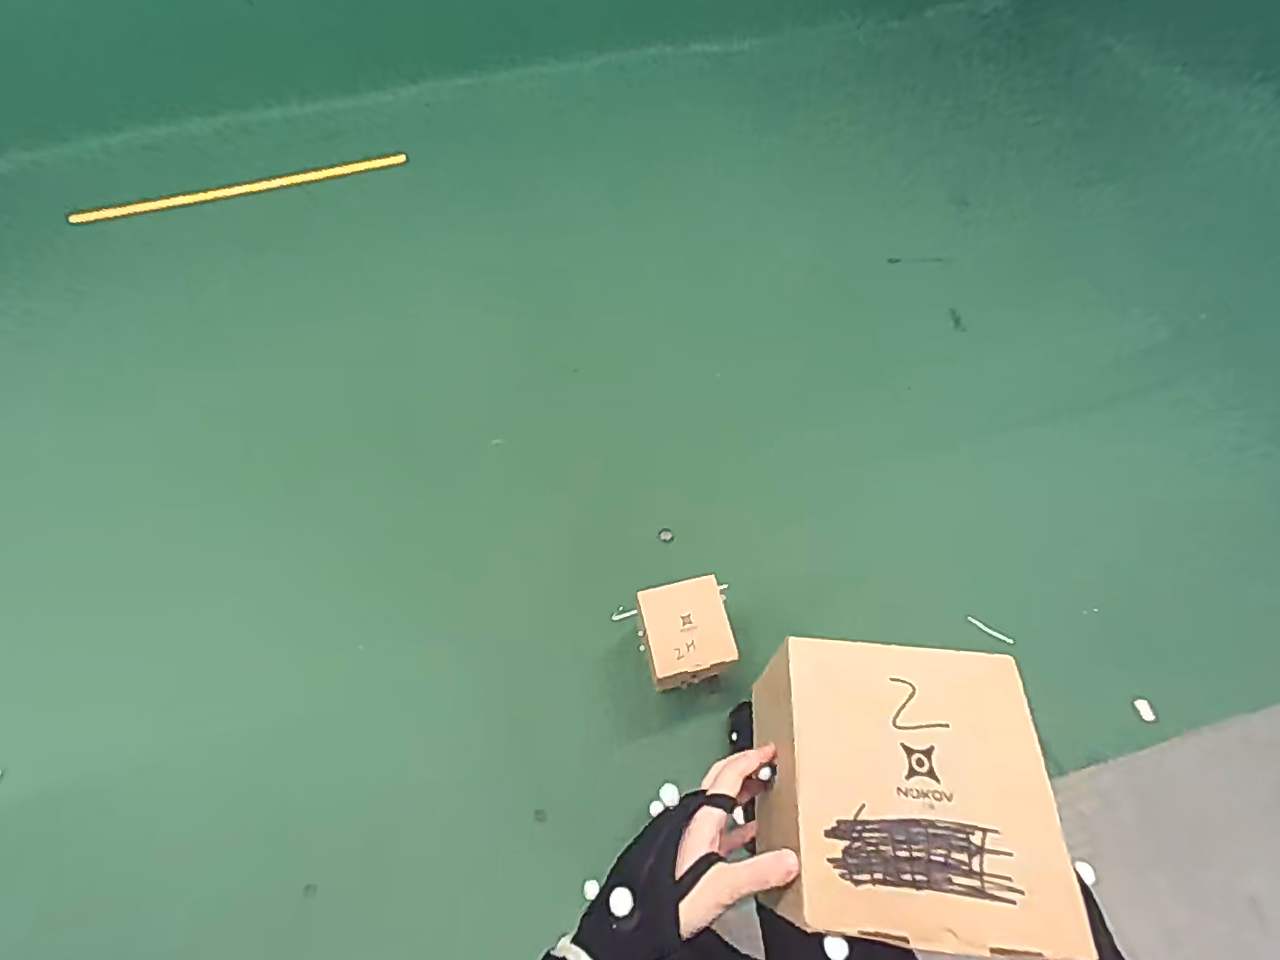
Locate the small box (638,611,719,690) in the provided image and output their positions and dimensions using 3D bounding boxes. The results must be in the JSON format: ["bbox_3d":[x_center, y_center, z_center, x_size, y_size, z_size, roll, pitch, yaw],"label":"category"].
[{"bbox_3d":[0.098,0.395,1.295,0.168,0.176,0.179,-14,64,-6],"label":"small box"}]

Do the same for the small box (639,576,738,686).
[{"bbox_3d":[0.094,0.324,1.146,0.168,0.176,0.179,-12,65,-5],"label":"small box"}]
